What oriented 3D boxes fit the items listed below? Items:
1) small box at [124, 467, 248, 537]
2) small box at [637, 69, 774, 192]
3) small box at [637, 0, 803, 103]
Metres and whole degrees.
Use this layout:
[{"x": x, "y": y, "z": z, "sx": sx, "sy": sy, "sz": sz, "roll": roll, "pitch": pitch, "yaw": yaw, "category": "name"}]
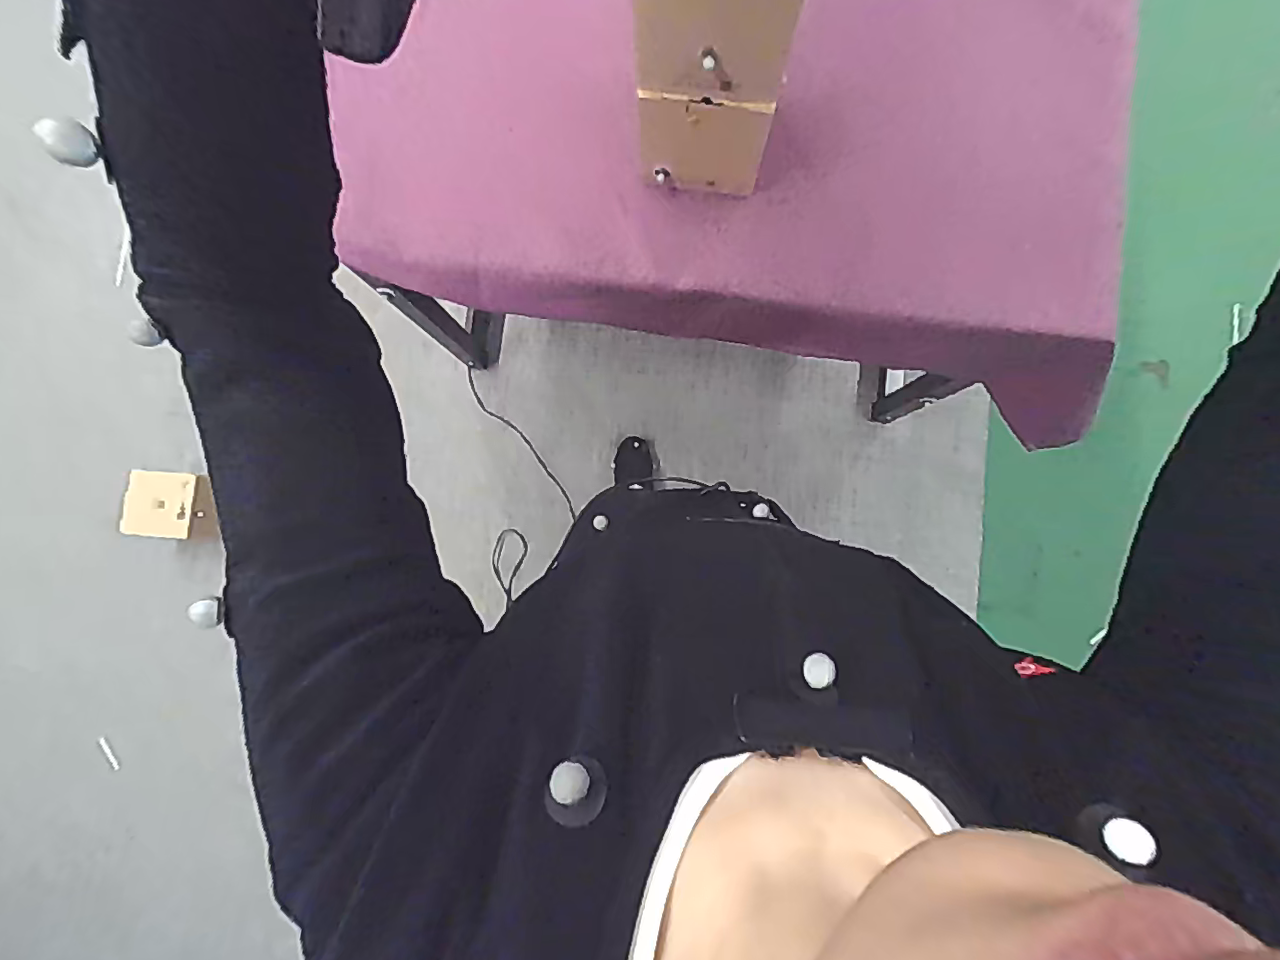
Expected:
[{"x": -1.202, "y": 0.063, "z": 1.442, "sx": 0.179, "sy": 0.176, "sz": 0.168, "roll": 5, "pitch": 85, "yaw": 3, "category": "small box"}, {"x": 0.093, "y": -0.521, "z": 0.725, "sx": 0.168, "sy": 0.176, "sz": 0.179, "roll": 9, "pitch": 85, "yaw": 2, "category": "small box"}, {"x": 0.088, "y": -0.544, "z": 0.563, "sx": 0.168, "sy": 0.176, "sz": 0.179, "roll": 8, "pitch": 86, "yaw": 3, "category": "small box"}]
